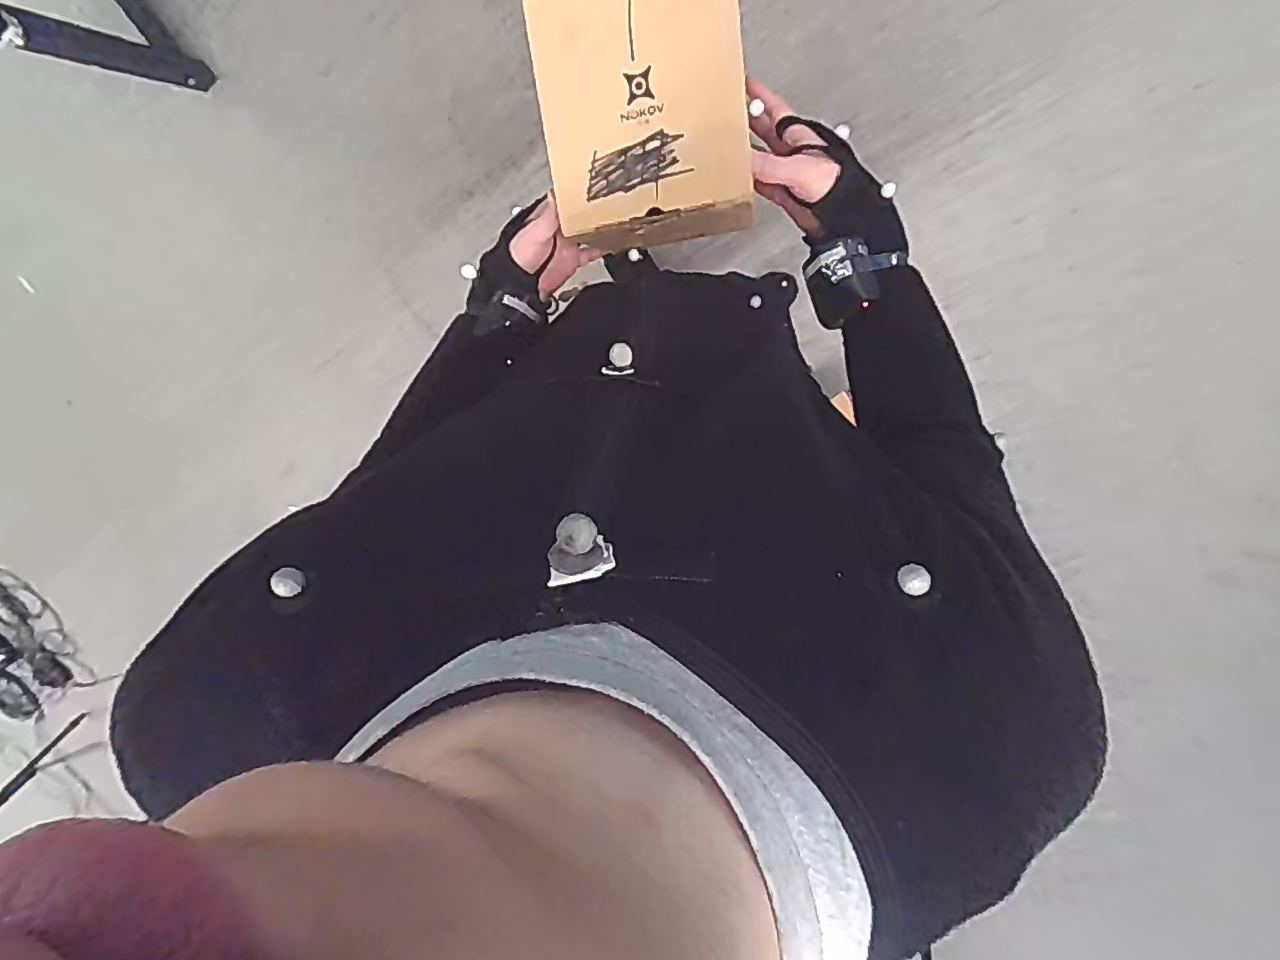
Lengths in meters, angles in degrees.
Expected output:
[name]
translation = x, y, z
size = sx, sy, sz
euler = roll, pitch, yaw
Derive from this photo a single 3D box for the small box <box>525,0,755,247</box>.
[small box]
translation = 0.016, -0.321, 0.498
size = 0.168, 0.176, 0.179
euler = -4, 106, 13
